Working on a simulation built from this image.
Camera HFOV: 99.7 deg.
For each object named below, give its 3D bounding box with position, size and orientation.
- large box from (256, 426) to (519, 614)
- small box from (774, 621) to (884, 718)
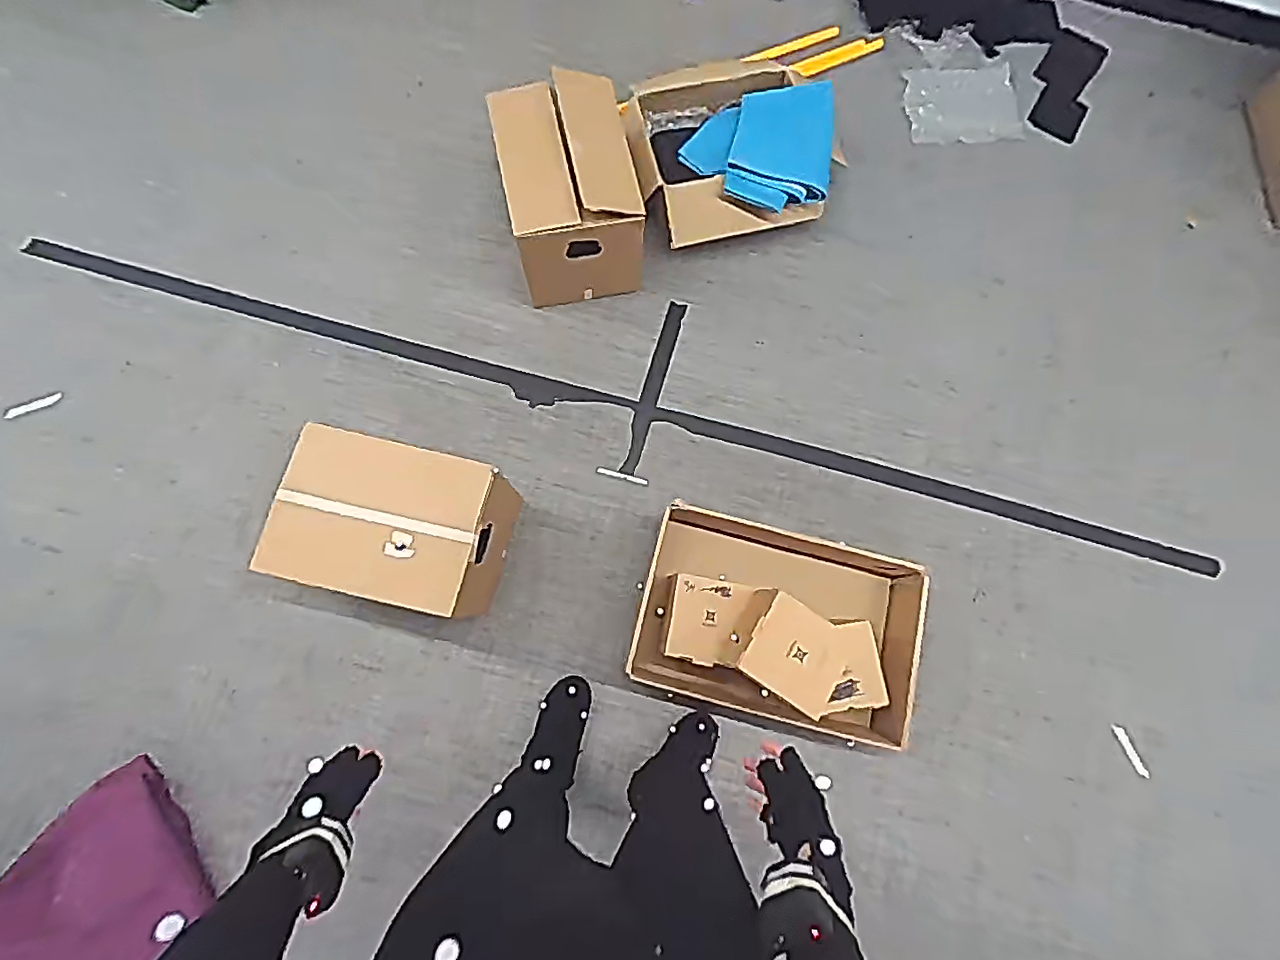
[{"bbox_3d":[-0.526,0.108,1.219,0.408,0.320,0.320,13,77,-1],"label":"large box"},{"bbox_3d":[0.417,0.419,1.220,0.168,0.176,0.179,-8,76,-4],"label":"small box"}]
